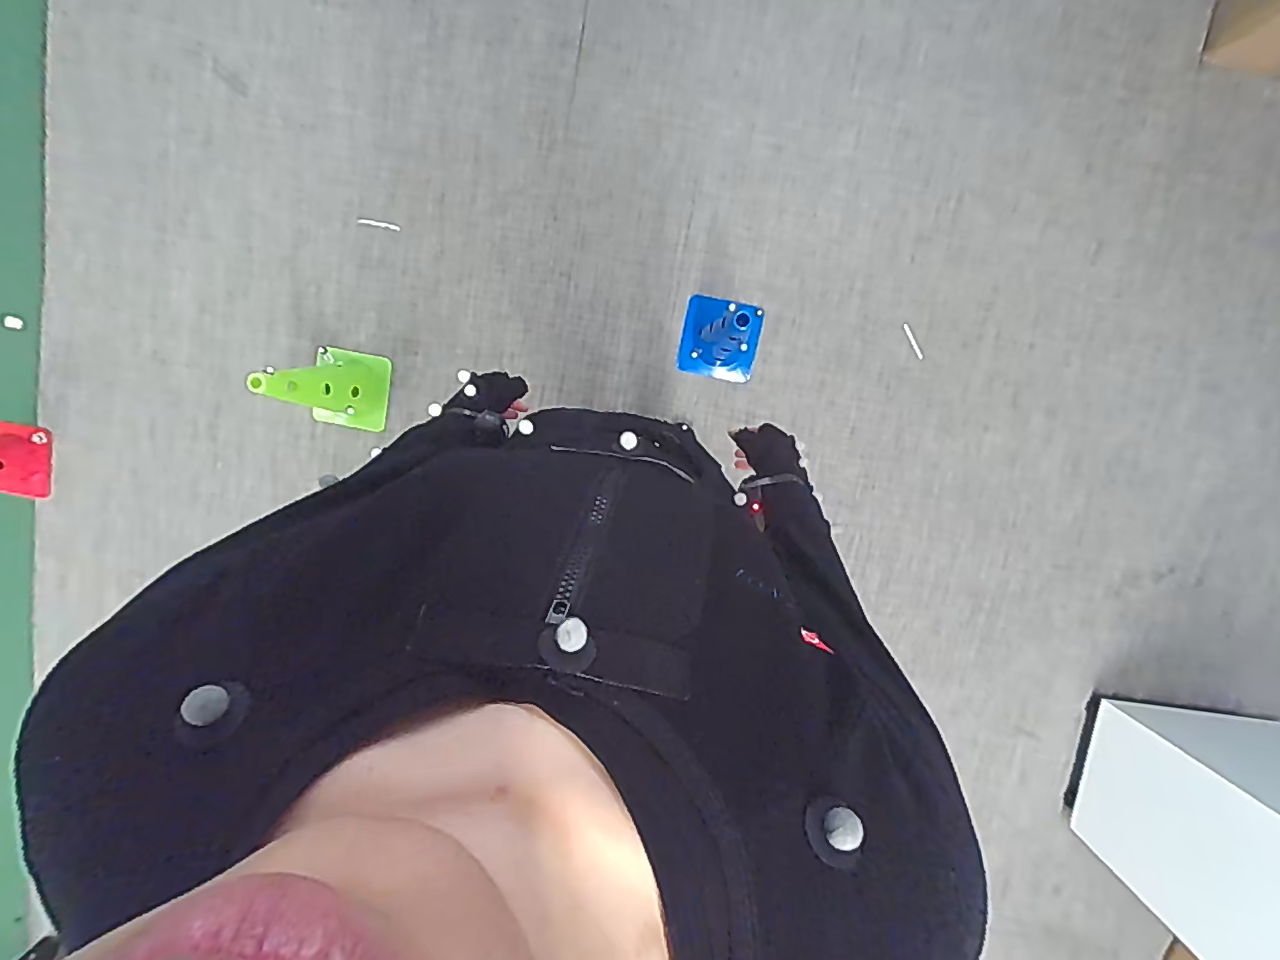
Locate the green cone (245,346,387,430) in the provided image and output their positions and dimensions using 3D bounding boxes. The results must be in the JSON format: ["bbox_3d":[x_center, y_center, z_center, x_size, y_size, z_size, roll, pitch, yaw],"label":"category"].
[{"bbox_3d":[-0.781,-0.218,1.267,0.202,0.368,0.200,9,98,-1],"label":"green cone"}]
